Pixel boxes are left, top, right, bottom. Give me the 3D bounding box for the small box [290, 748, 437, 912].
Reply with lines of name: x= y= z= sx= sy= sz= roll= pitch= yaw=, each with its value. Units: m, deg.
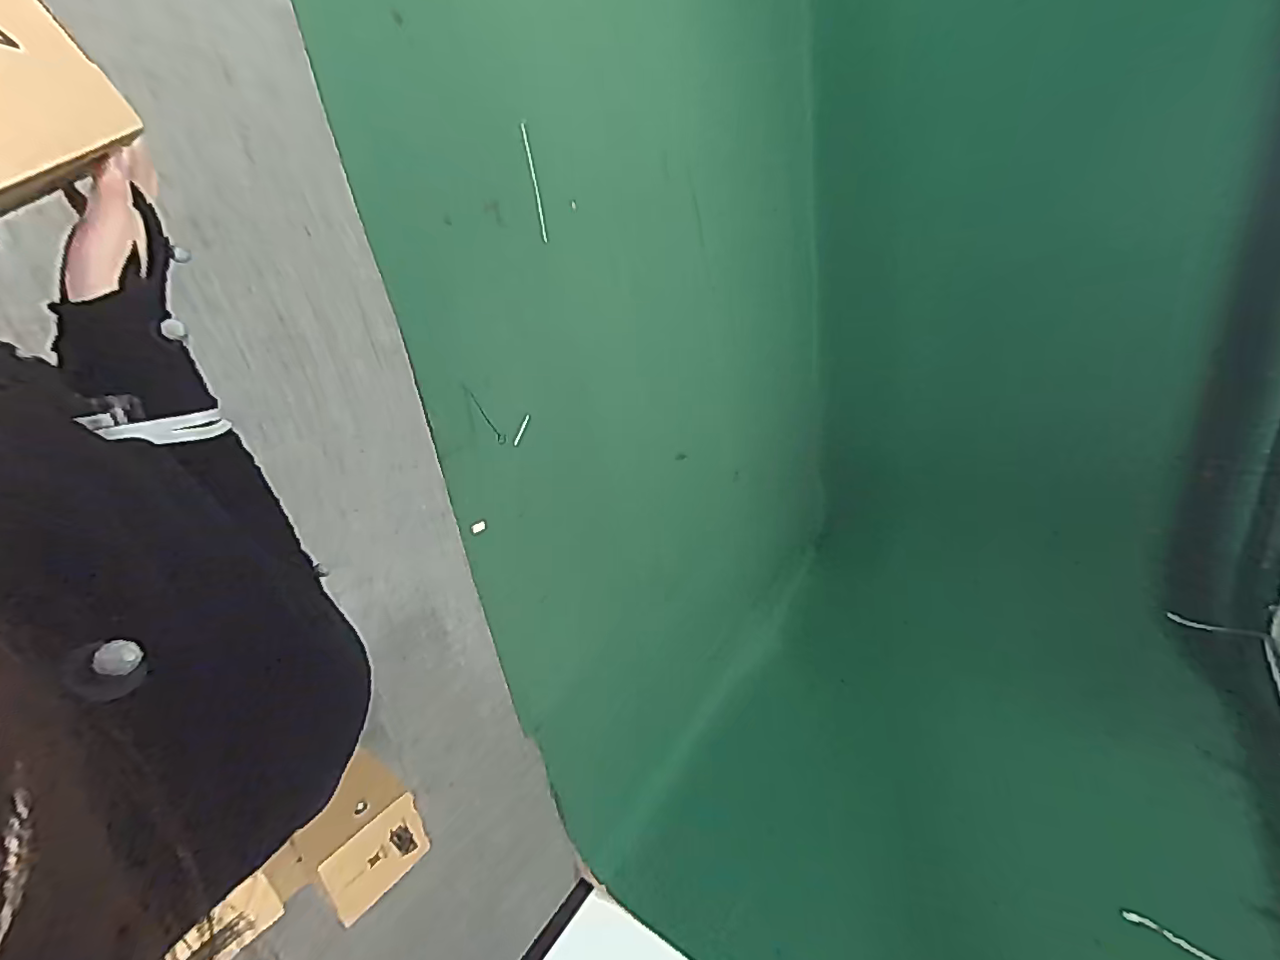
small box: x=-0.537 y=0.669 z=1.058 sx=0.179 sy=0.176 sz=0.168 roll=-33 pitch=123 yaw=-46
